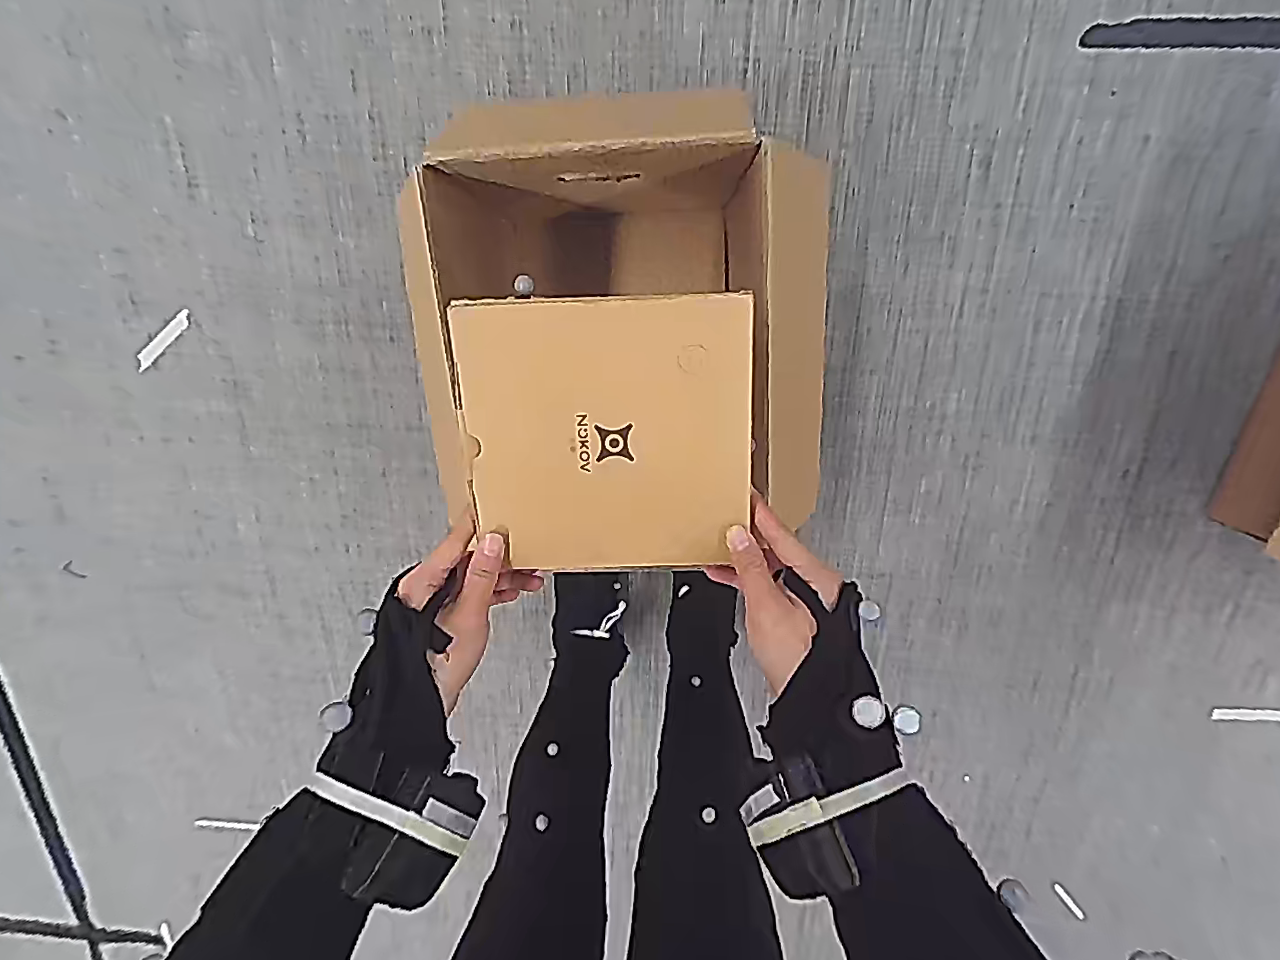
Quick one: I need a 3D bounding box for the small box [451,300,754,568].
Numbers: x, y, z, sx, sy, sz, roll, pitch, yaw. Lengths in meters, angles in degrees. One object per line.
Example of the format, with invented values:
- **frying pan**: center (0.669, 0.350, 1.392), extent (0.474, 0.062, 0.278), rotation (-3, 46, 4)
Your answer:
- **small box**: center (-0.018, -0.046, 0.406), extent (0.179, 0.176, 0.168), rotation (-2, 106, 3)
